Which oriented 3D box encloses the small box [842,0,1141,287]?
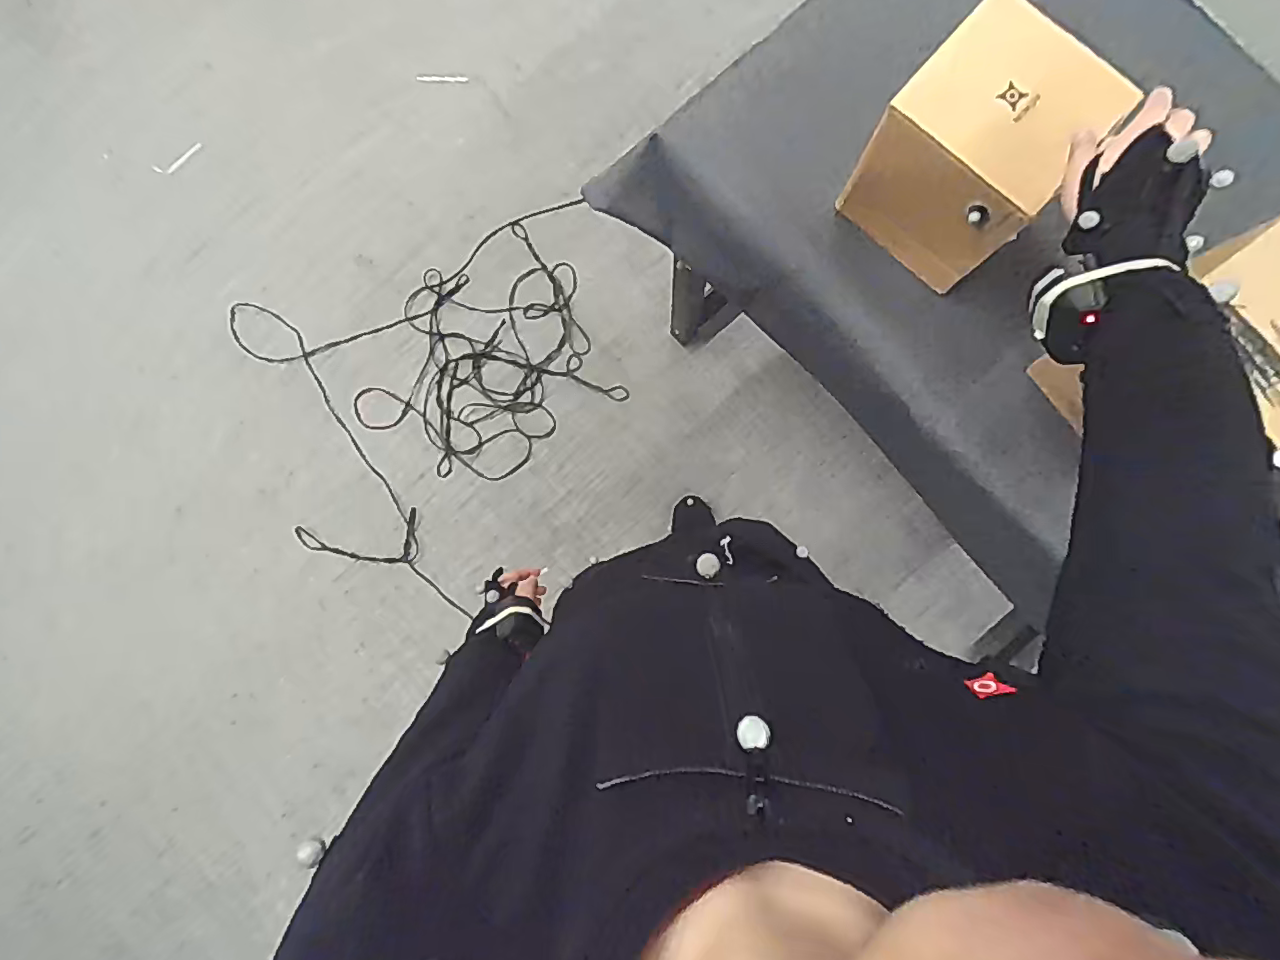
[{"bbox_3d":[0.357,-0.348,0.591,0.179,0.176,0.168,42,87,4],"label":"small box"}]
